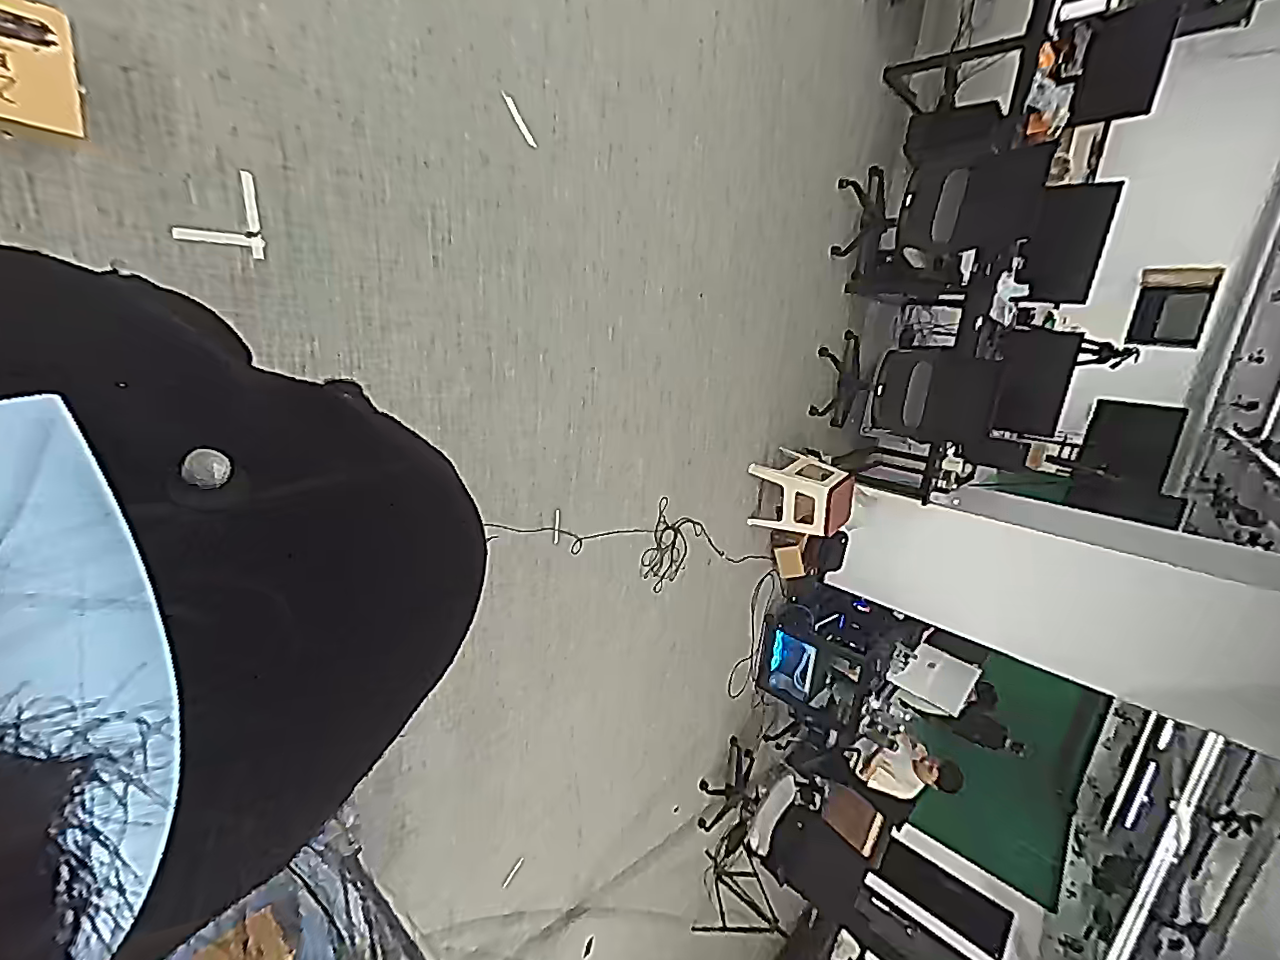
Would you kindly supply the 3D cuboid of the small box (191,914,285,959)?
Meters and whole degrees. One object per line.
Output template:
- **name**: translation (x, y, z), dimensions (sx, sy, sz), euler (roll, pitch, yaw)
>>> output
- **small box**: translation (-0.964, 1.222, 1.312), dimensions (0.168, 0.176, 0.179), euler (-18, 117, -44)
